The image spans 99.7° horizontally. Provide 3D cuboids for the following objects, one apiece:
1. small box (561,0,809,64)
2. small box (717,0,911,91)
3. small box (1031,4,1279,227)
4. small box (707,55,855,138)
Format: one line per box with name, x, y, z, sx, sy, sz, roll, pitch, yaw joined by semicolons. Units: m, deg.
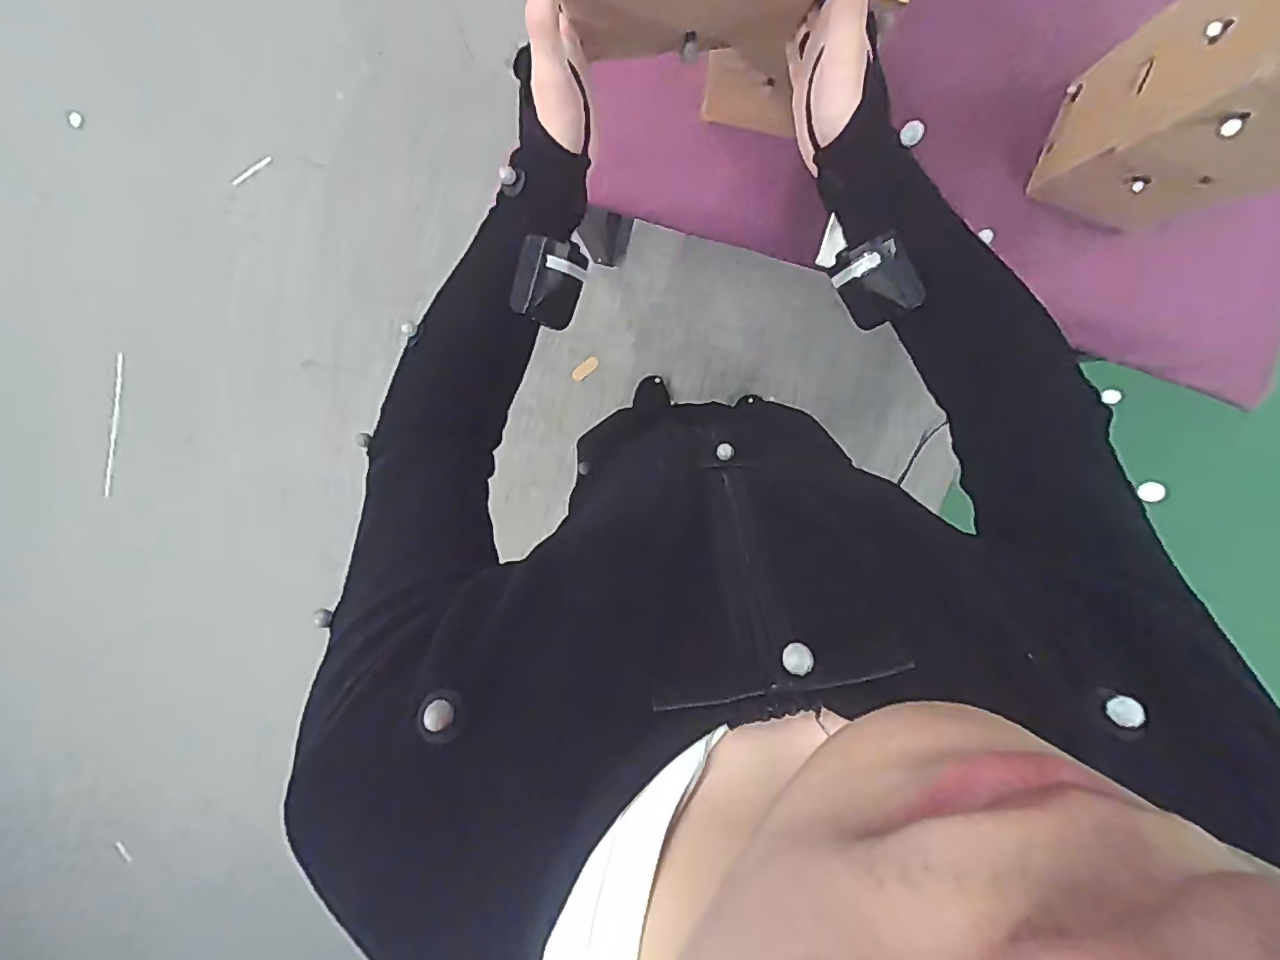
small box;0.031;-0.405;0.357;0.179;0.176;0.168;-3;112;4
small box;0.188;-0.546;0.560;0.179;0.176;0.168;16;100;0
small box;0.678;-0.462;0.718;0.179;0.176;0.168;18;100;-1
small box;0.196;-0.589;0.720;0.179;0.176;0.168;14;100;1
